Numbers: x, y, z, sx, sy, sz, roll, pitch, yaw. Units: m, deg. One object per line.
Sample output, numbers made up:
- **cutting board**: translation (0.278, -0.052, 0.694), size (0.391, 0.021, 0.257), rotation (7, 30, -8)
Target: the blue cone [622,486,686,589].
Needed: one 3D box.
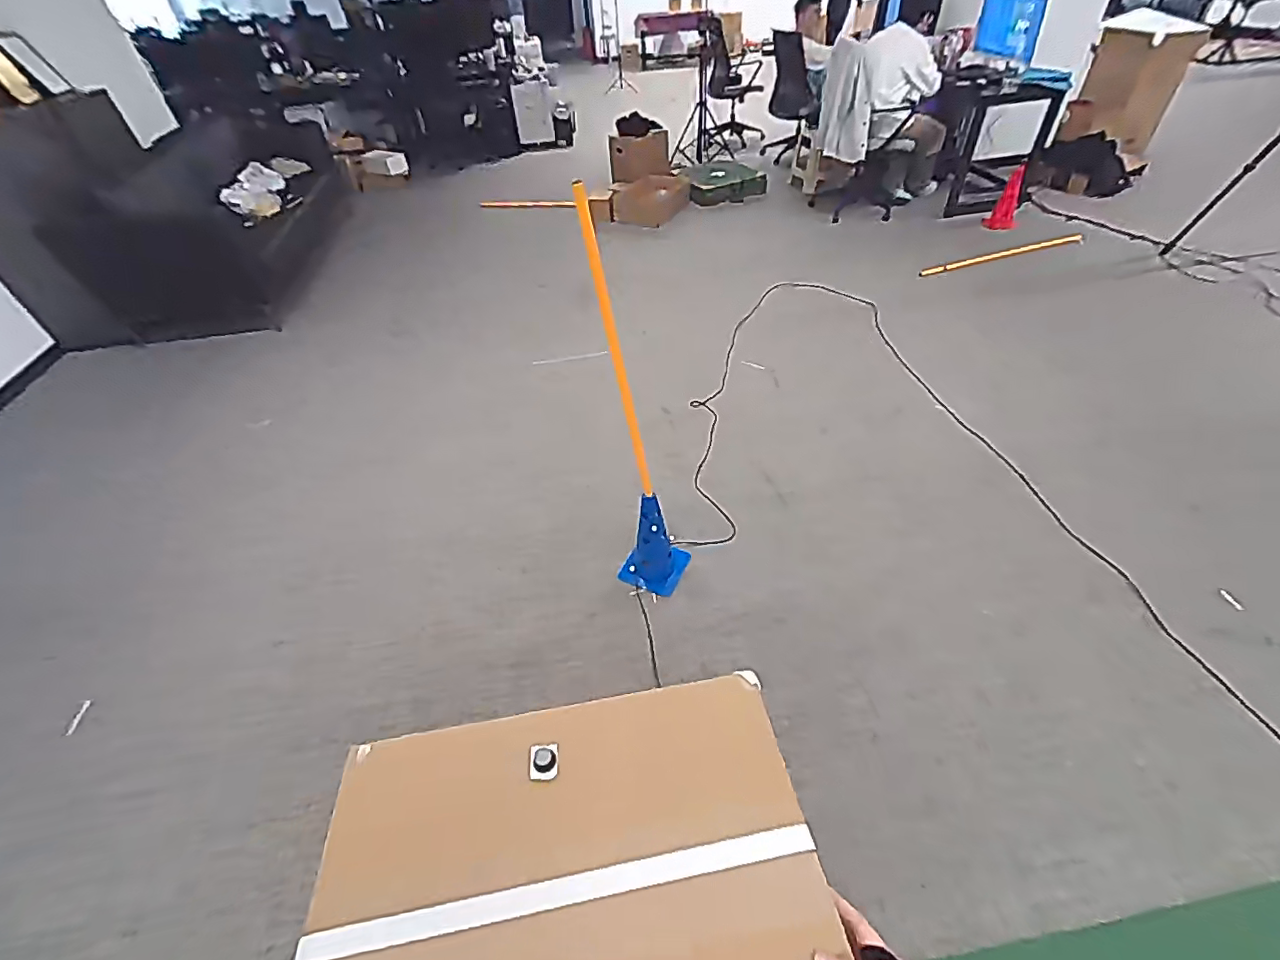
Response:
- **blue cone**: translation (0.035, 0.164, 1.722), size (0.192, 0.380, 0.193), rotation (14, 49, 20)
